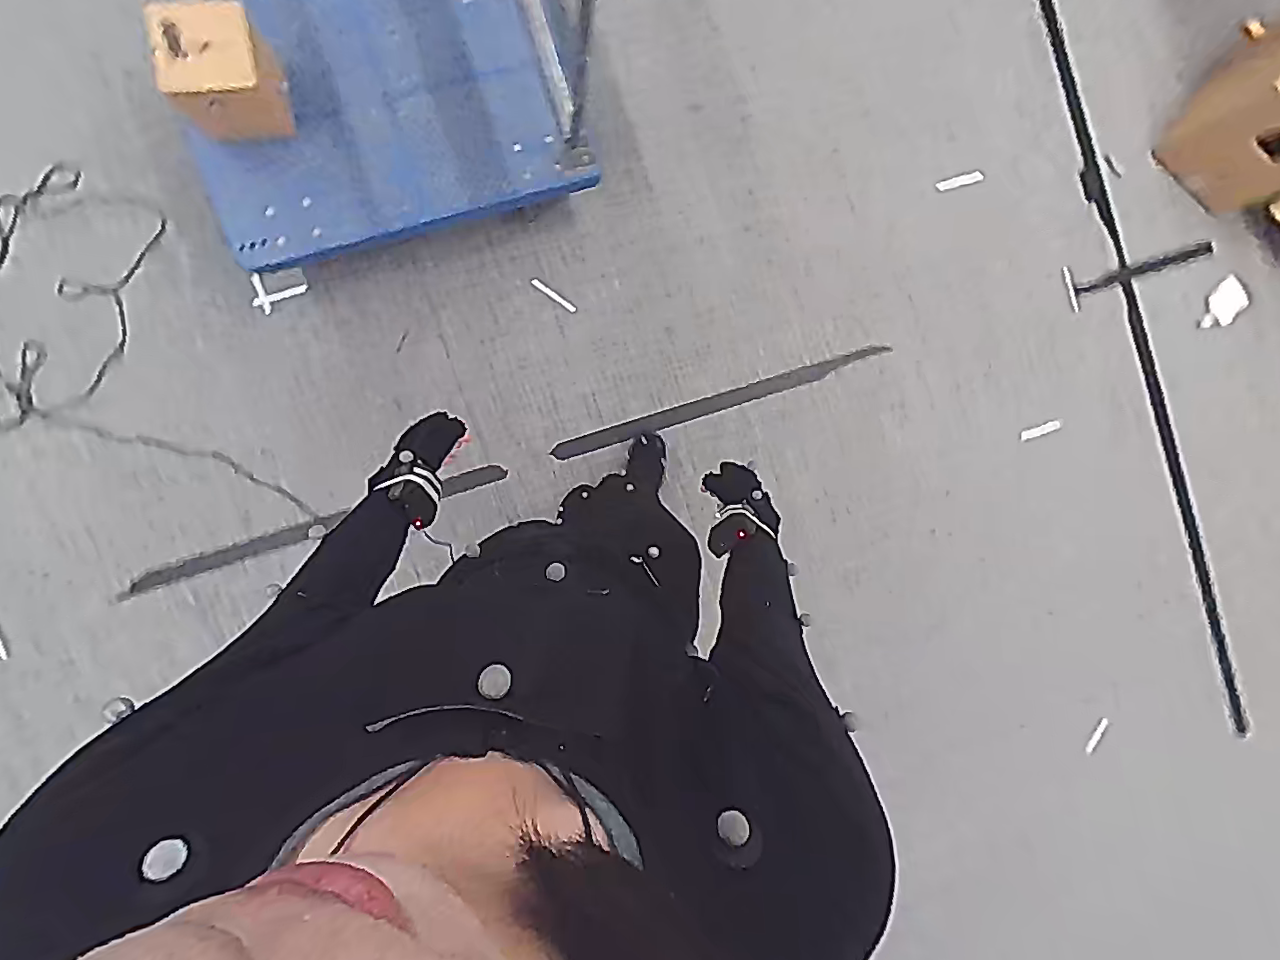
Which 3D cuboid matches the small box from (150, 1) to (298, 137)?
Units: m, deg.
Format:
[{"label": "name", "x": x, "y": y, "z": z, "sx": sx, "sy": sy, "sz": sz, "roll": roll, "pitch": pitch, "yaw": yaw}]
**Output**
[{"label": "small box", "x": -0.855, "y": -0.845, "z": 1.127, "sx": 0.179, "sy": 0.176, "sz": 0.168, "roll": -8, "pitch": 93, "yaw": -9}]
